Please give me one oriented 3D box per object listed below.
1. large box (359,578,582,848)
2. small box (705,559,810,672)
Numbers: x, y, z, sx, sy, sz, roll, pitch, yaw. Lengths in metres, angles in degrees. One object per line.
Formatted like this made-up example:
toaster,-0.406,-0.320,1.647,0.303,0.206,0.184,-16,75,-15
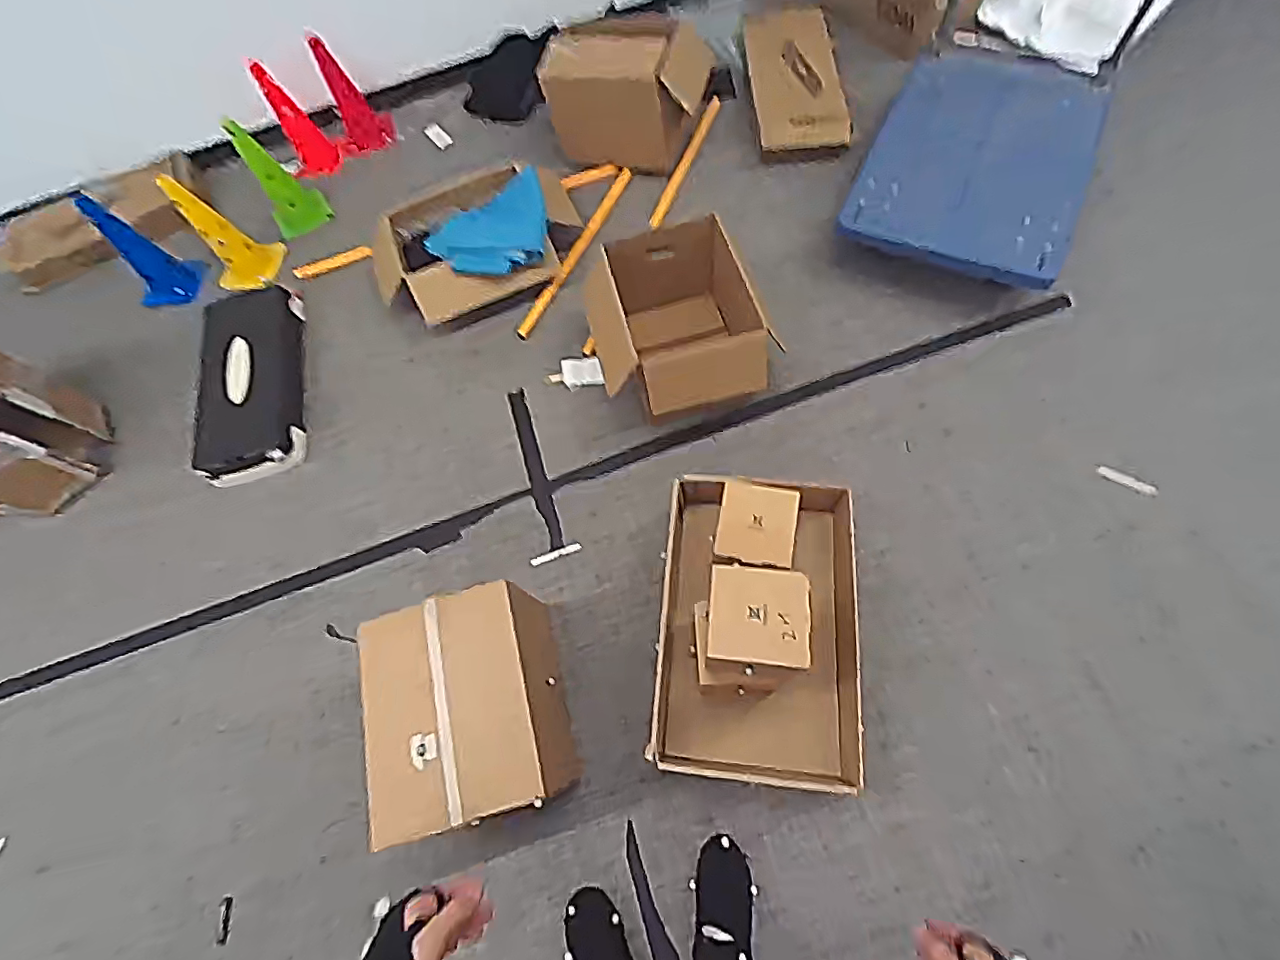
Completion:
large box,-0.341,0.467,1.140,0.320,0.320,0.408,-18,67,0
small box,0.214,0.258,1.008,0.179,0.176,0.168,4,66,7
